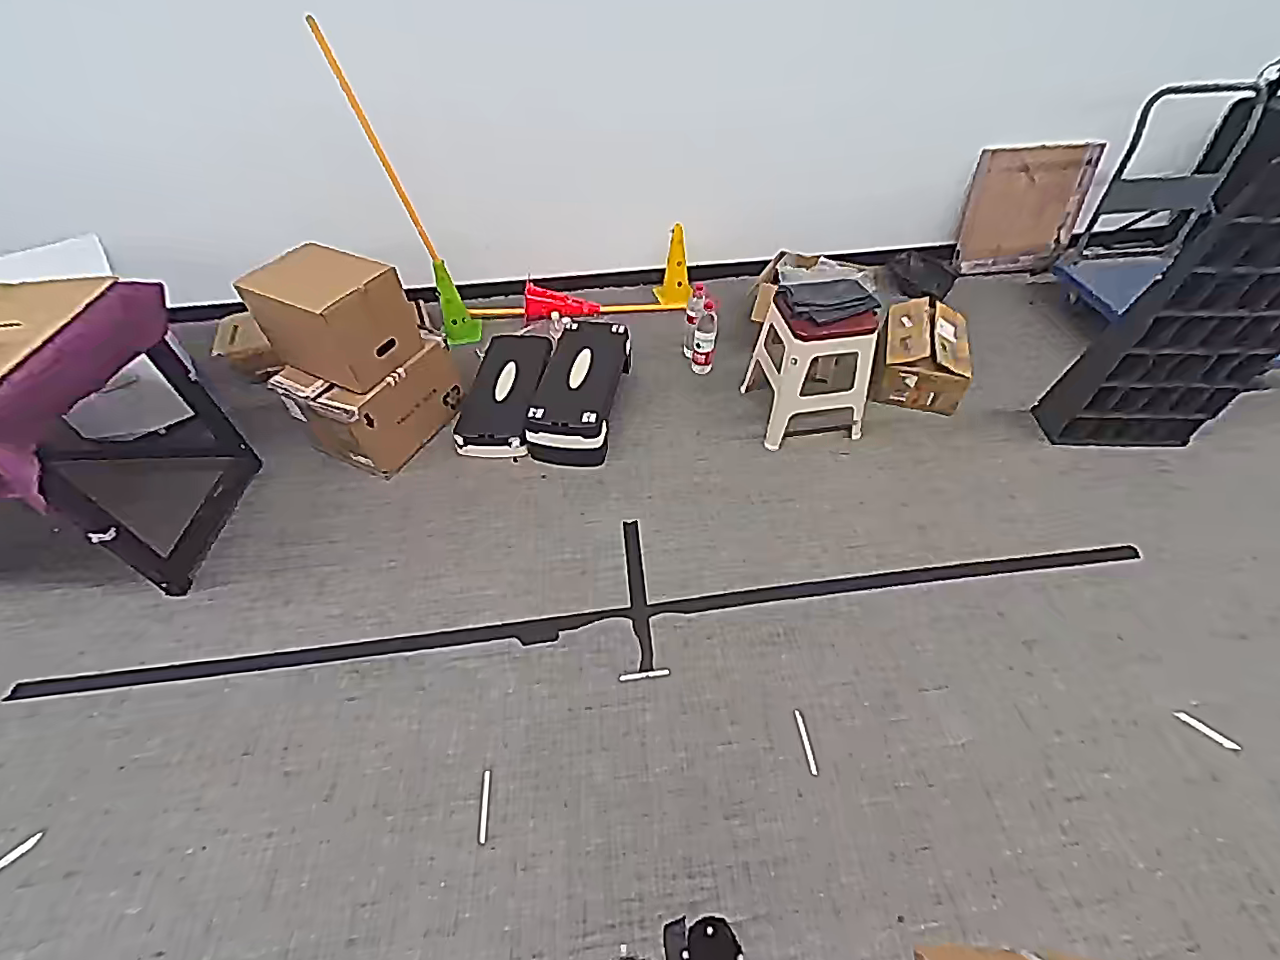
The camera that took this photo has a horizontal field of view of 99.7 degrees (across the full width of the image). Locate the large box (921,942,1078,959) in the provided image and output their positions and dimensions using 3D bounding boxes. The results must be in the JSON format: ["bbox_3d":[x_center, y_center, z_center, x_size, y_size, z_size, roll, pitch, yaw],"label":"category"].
[{"bbox_3d":[0.545,0.767,0.556,0.320,0.408,0.320,3,69,4],"label":"large box"}]
